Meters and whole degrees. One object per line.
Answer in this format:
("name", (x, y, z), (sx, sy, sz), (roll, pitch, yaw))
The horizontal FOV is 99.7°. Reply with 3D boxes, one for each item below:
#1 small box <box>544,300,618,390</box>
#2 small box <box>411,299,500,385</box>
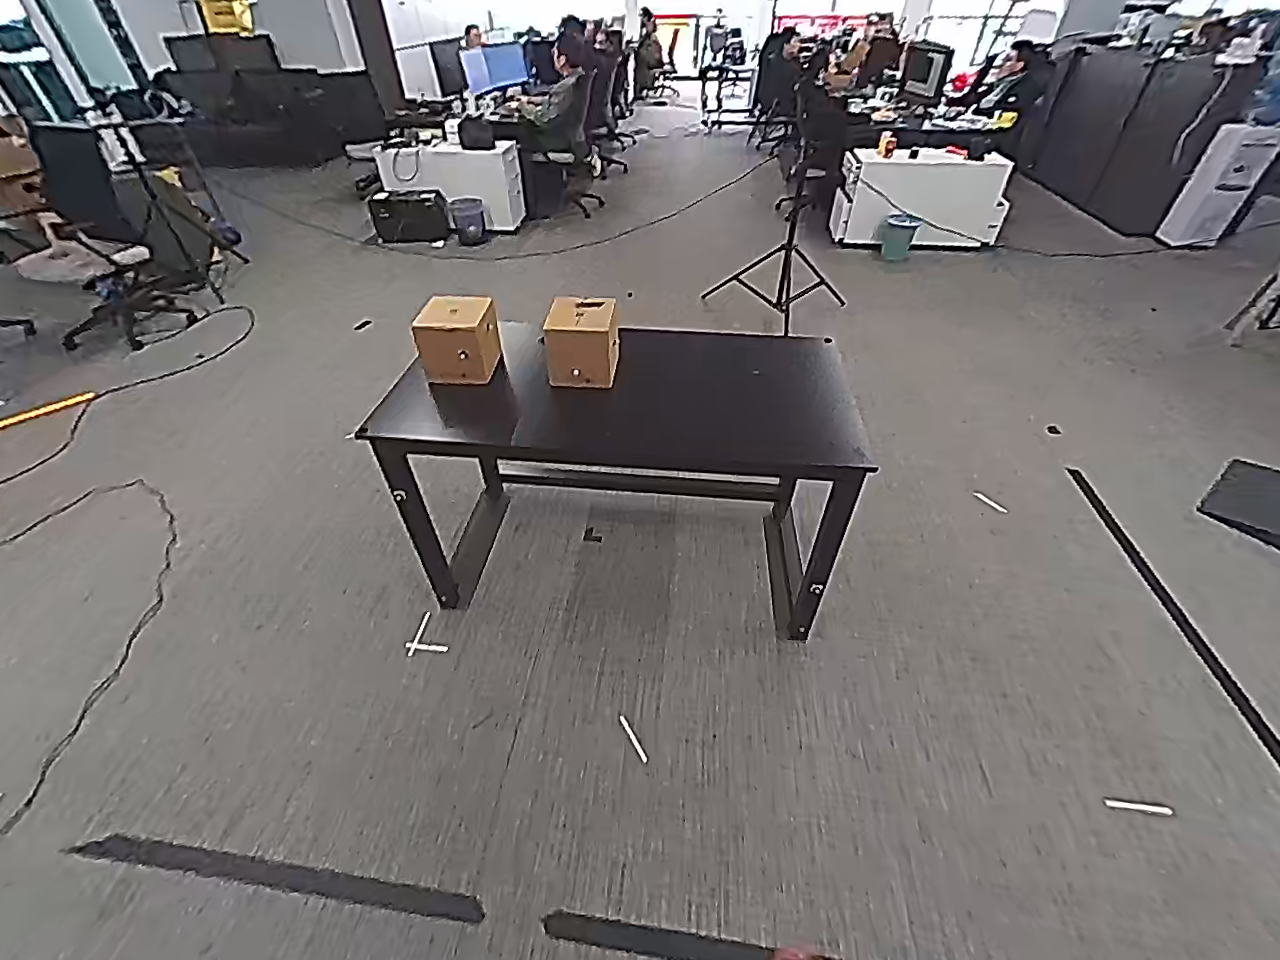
("small box", (-0.150, -0.358, 1.431), (0.168, 0.176, 0.179), (3, 43, 4))
("small box", (-0.482, -0.368, 1.444), (0.168, 0.176, 0.179), (2, 41, 0))
